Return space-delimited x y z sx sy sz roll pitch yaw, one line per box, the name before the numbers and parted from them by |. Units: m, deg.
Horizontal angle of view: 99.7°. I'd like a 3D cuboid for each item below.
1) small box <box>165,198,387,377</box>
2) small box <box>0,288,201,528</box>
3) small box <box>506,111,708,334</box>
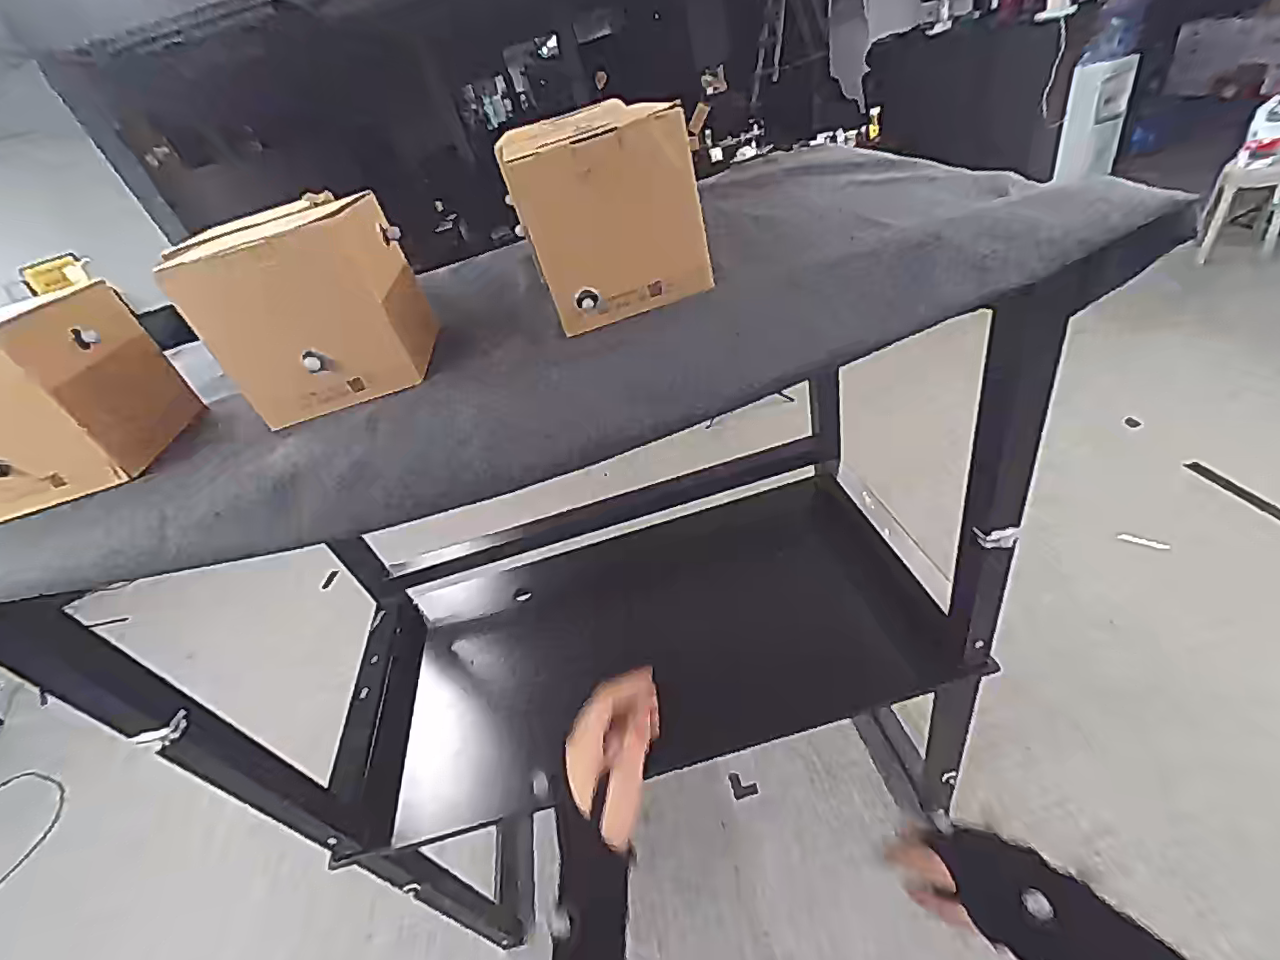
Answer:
small box | -0.484 -0.269 0.758 0.179 0.176 0.168 -19 37 -2
small box | -0.626 -0.079 0.575 0.168 0.176 0.179 -19 37 -2
small box | -0.035 -0.277 0.589 0.168 0.176 0.179 -18 36 -1
